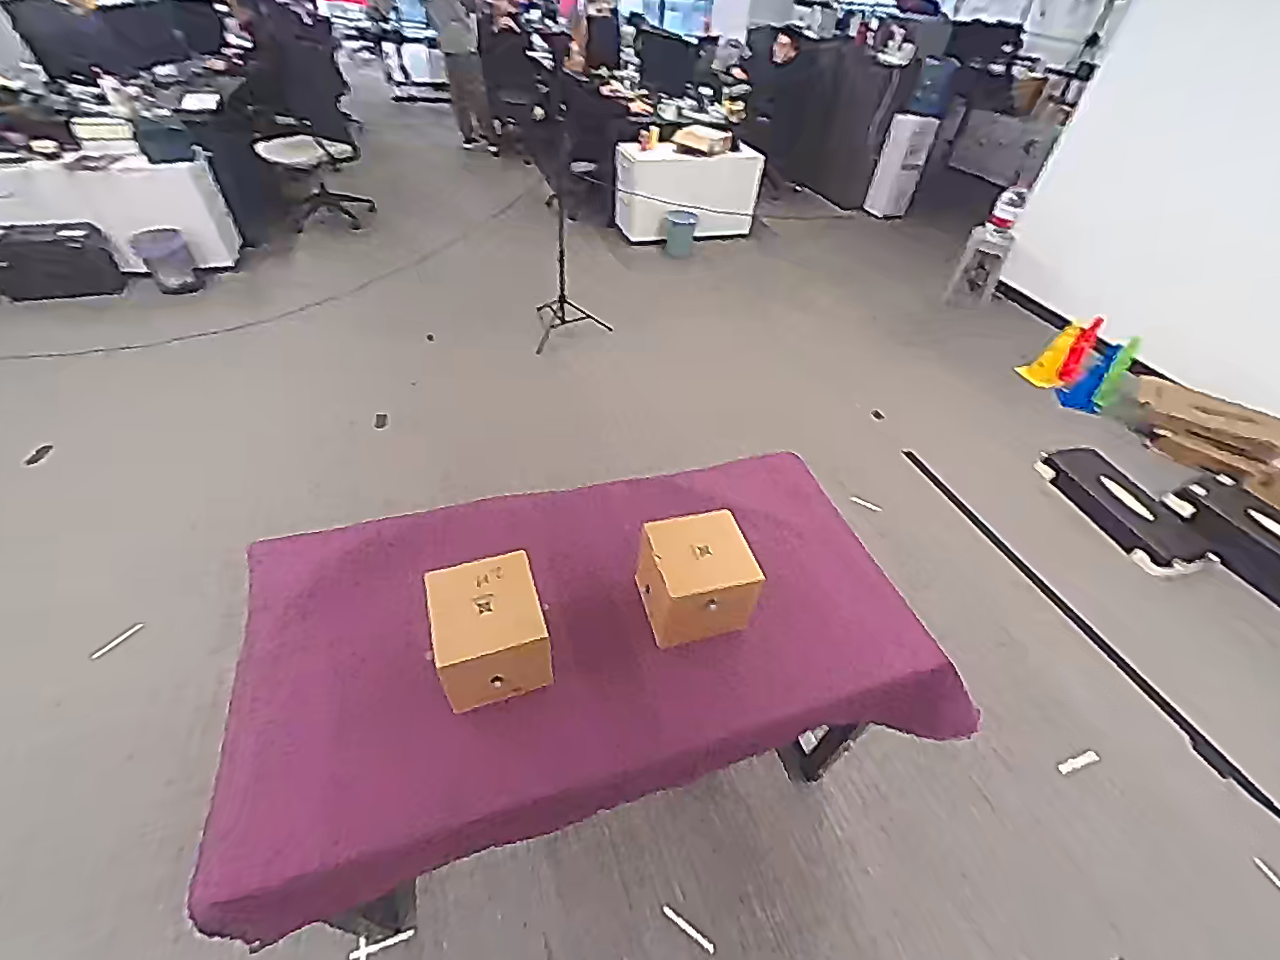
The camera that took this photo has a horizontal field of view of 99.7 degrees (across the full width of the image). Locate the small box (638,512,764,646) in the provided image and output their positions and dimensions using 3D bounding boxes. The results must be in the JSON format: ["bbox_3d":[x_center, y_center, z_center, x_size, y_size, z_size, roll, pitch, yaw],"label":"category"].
[{"bbox_3d":[0.103,0.184,1.009,0.179,0.176,0.168,-9,47,-14],"label":"small box"}]

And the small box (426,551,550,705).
[{"bbox_3d":[-0.250,0.251,0.901,0.168,0.176,0.179,-11,47,-17],"label":"small box"}]
